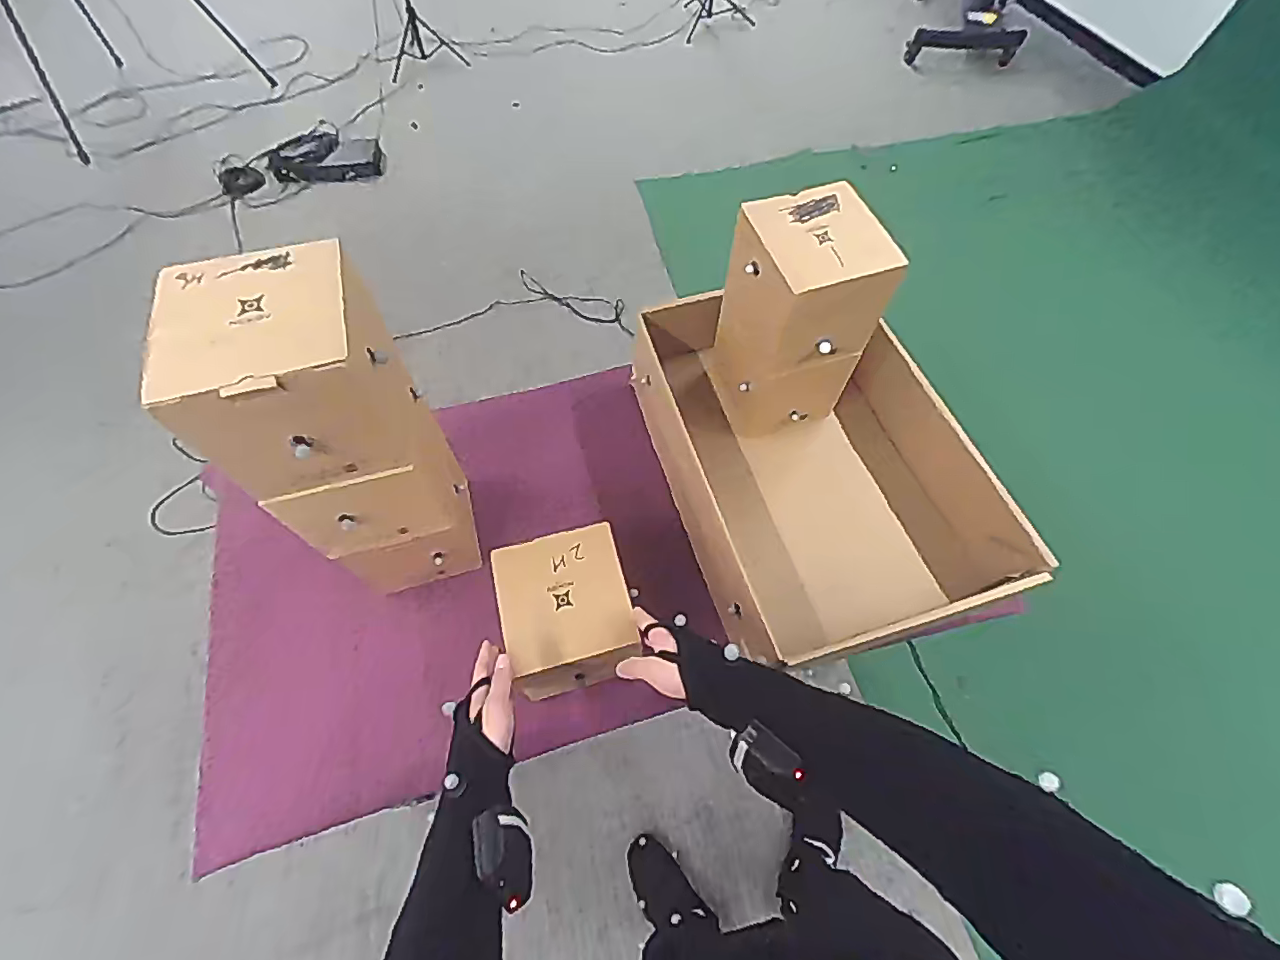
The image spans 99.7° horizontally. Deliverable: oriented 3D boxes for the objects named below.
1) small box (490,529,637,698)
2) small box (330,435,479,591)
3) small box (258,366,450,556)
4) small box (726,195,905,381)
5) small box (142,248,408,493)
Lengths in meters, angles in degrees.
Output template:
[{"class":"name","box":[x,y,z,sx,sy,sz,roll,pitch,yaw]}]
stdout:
[{"class":"small box","box":[-0.102,0.196,0.765,0.168,0.176,0.179,-13,60,-9]},{"class":"small box","box":[-0.360,0.060,0.843,0.168,0.176,0.179,-14,61,-9]},{"class":"small box","box":[-0.357,-0.016,0.701,0.168,0.176,0.179,-14,61,-10]},{"class":"small box","box":[0.238,-0.275,0.790,0.168,0.176,0.179,-17,63,-8]},{"class":"small box","box":[-0.355,-0.103,0.561,0.168,0.176,0.179,-15,62,-10]}]
